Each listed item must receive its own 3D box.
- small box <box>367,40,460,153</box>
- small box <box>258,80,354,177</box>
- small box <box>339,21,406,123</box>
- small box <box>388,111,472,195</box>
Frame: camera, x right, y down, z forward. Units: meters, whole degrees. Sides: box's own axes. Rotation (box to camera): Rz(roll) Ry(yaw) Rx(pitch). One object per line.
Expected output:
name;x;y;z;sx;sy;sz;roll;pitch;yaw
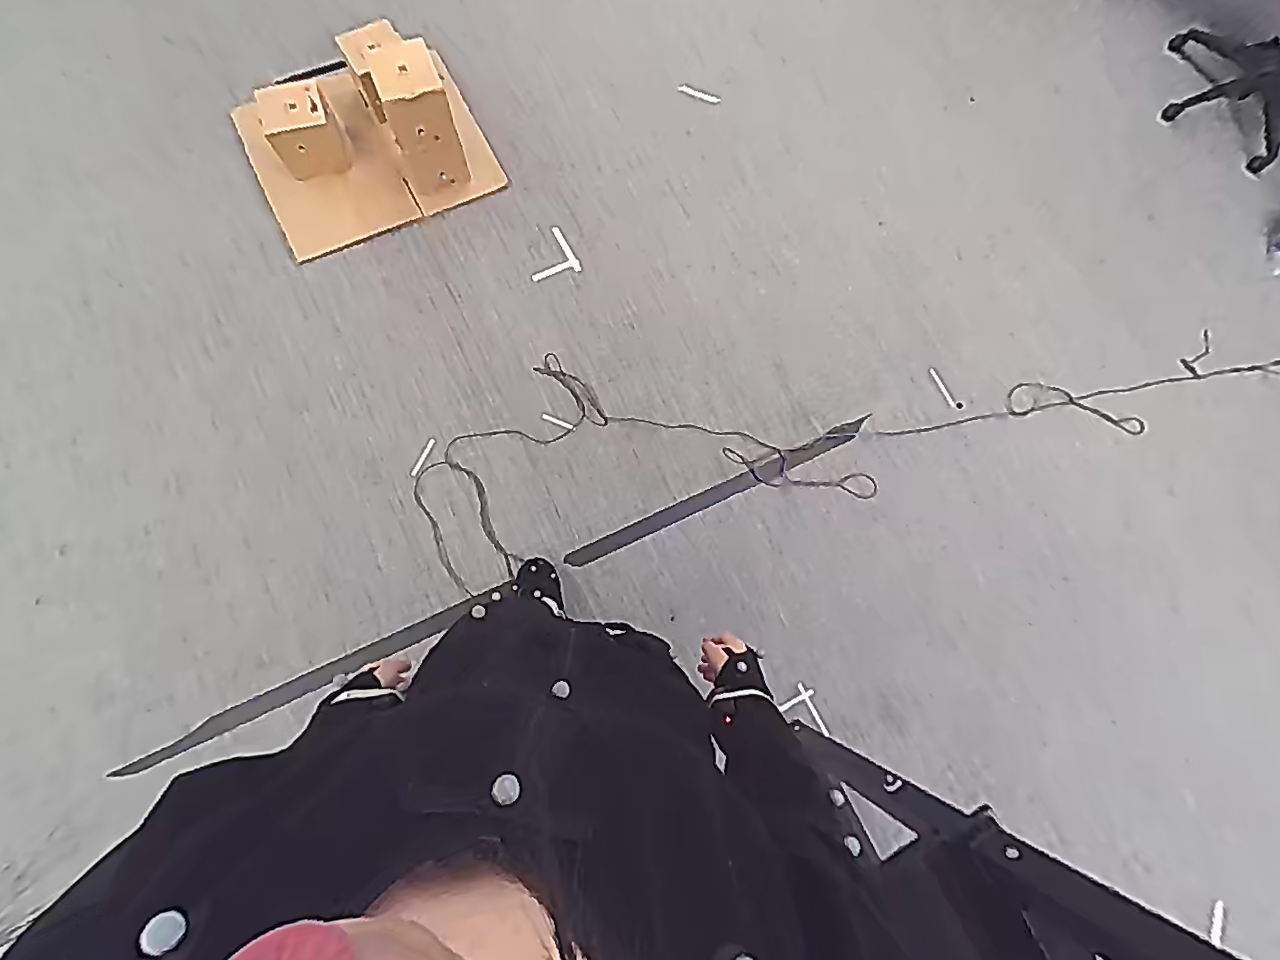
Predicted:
small box;-0.624;-1.062;1.505;0.168;0.176;0.179;-22;81;-9
small box;-1.004;-1.053;1.636;0.179;0.176;0.168;-17;80;-7
small box;-0.802;-1.285;1.710;0.179;0.176;0.168;-31;80;-11
small box;-0.640;-1.026;1.663;0.168;0.176;0.179;-26;82;-9
